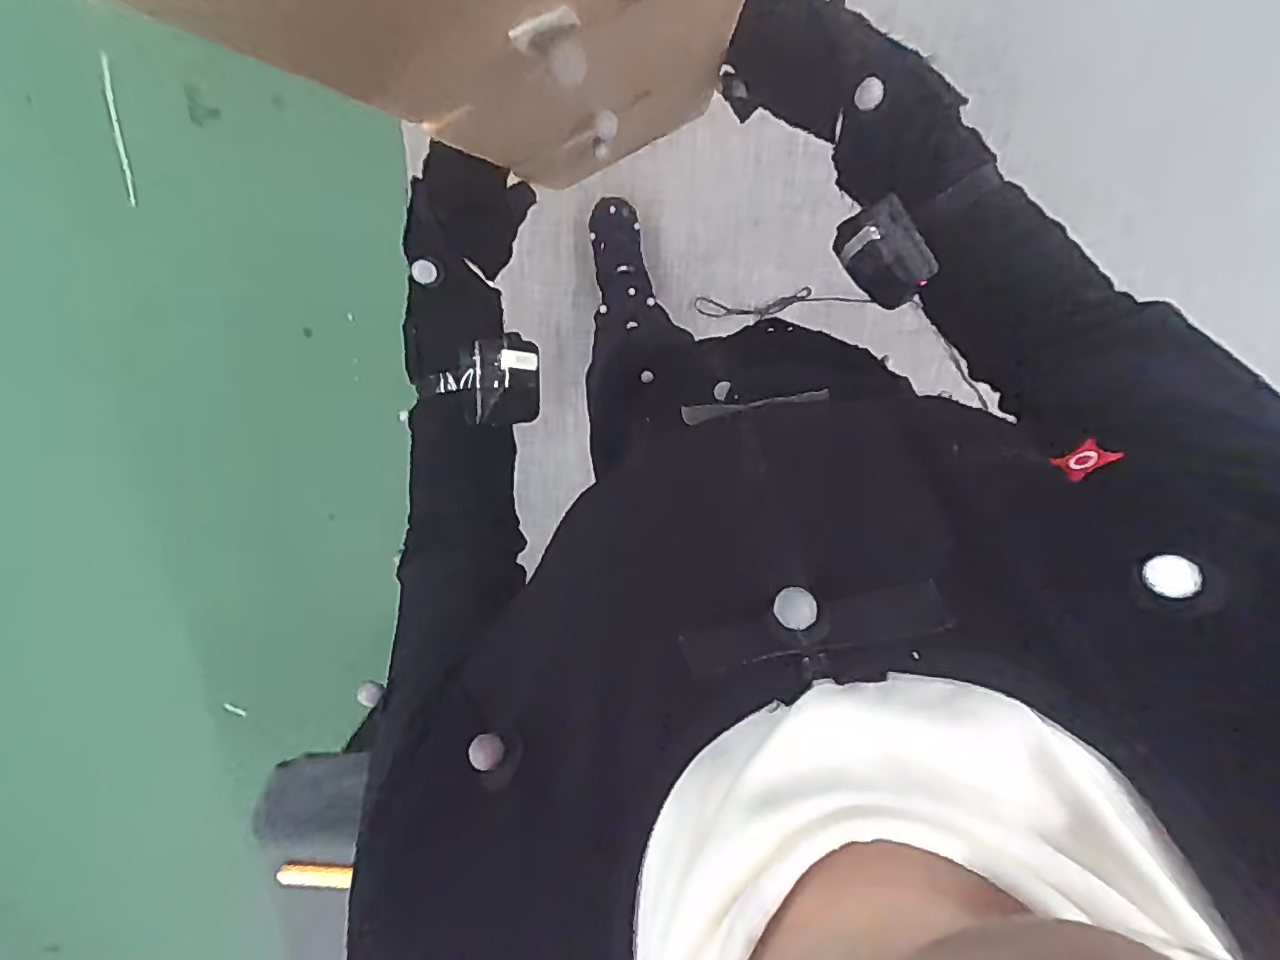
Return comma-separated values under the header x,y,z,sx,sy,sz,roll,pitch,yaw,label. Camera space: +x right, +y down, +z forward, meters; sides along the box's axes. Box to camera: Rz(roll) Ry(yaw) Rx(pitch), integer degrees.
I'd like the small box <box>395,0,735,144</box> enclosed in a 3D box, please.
x,y,z,sx,sy,sz,roll,pitch,yaw,label
-0.054,-0.303,0.271,0.168,0.176,0.179,-19,113,12,small box

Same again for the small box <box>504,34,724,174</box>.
x,y,z,sx,sy,sz,roll,pitch,yaw,label
-0.046,-0.369,0.423,0.168,0.176,0.179,-20,112,12,small box
